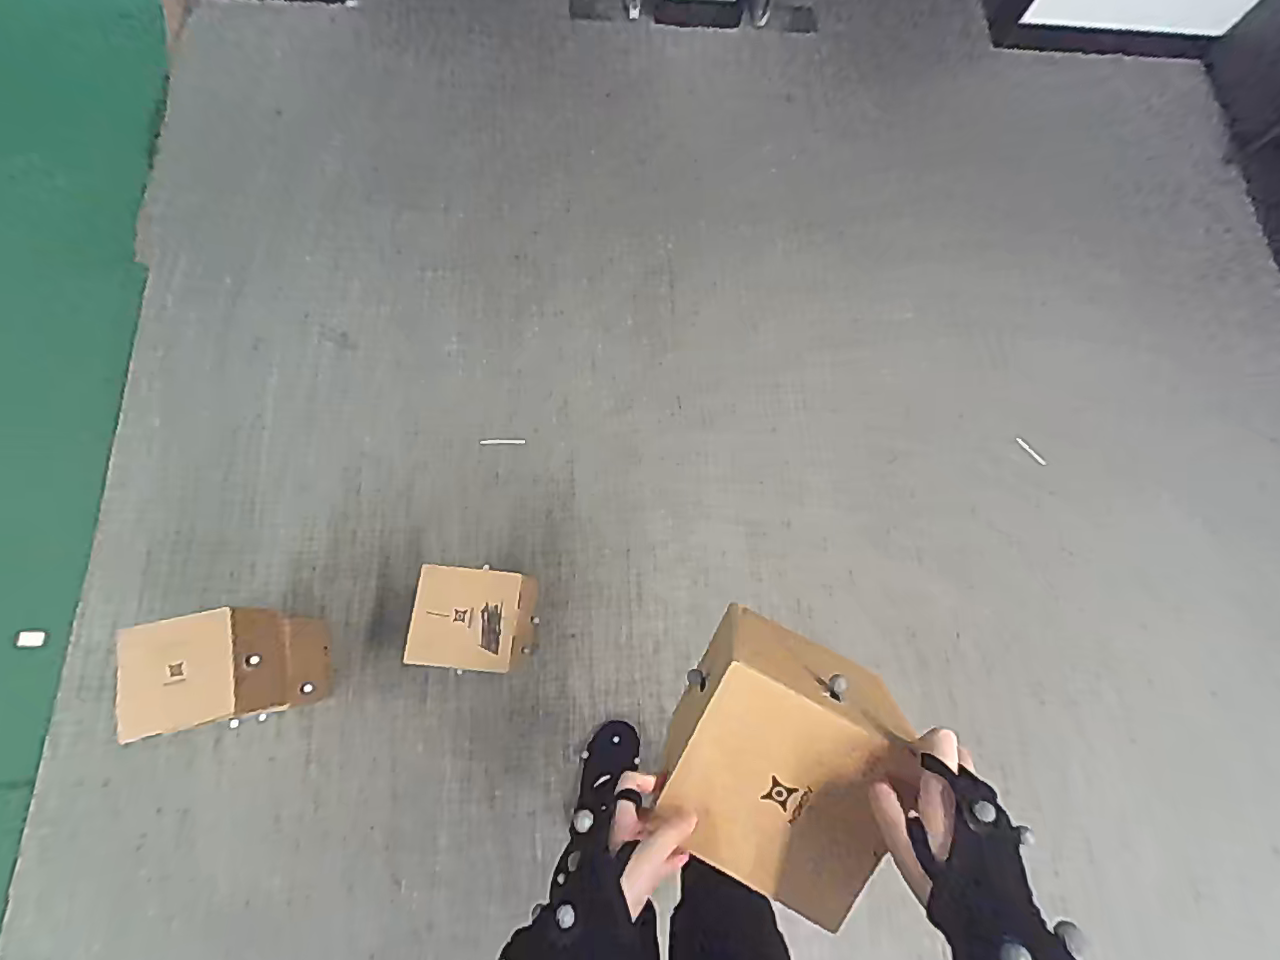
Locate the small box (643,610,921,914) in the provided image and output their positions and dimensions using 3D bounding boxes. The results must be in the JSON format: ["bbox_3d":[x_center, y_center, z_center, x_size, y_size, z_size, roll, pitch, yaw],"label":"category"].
[{"bbox_3d":[0.123,0.245,0.523,0.179,0.176,0.168,26,97,6],"label":"small box"}]

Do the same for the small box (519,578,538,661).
[{"bbox_3d":[-0.316,0.290,1.154,0.179,0.176,0.168,6,73,-5],"label":"small box"}]

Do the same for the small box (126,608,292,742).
[{"bbox_3d":[-0.729,0.326,0.933,0.168,0.176,0.179,-11,75,-9],"label":"small box"}]

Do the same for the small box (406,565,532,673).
[{"bbox_3d":[-0.301,0.254,0.993,0.179,0.176,0.168,6,74,-3],"label":"small box"}]
